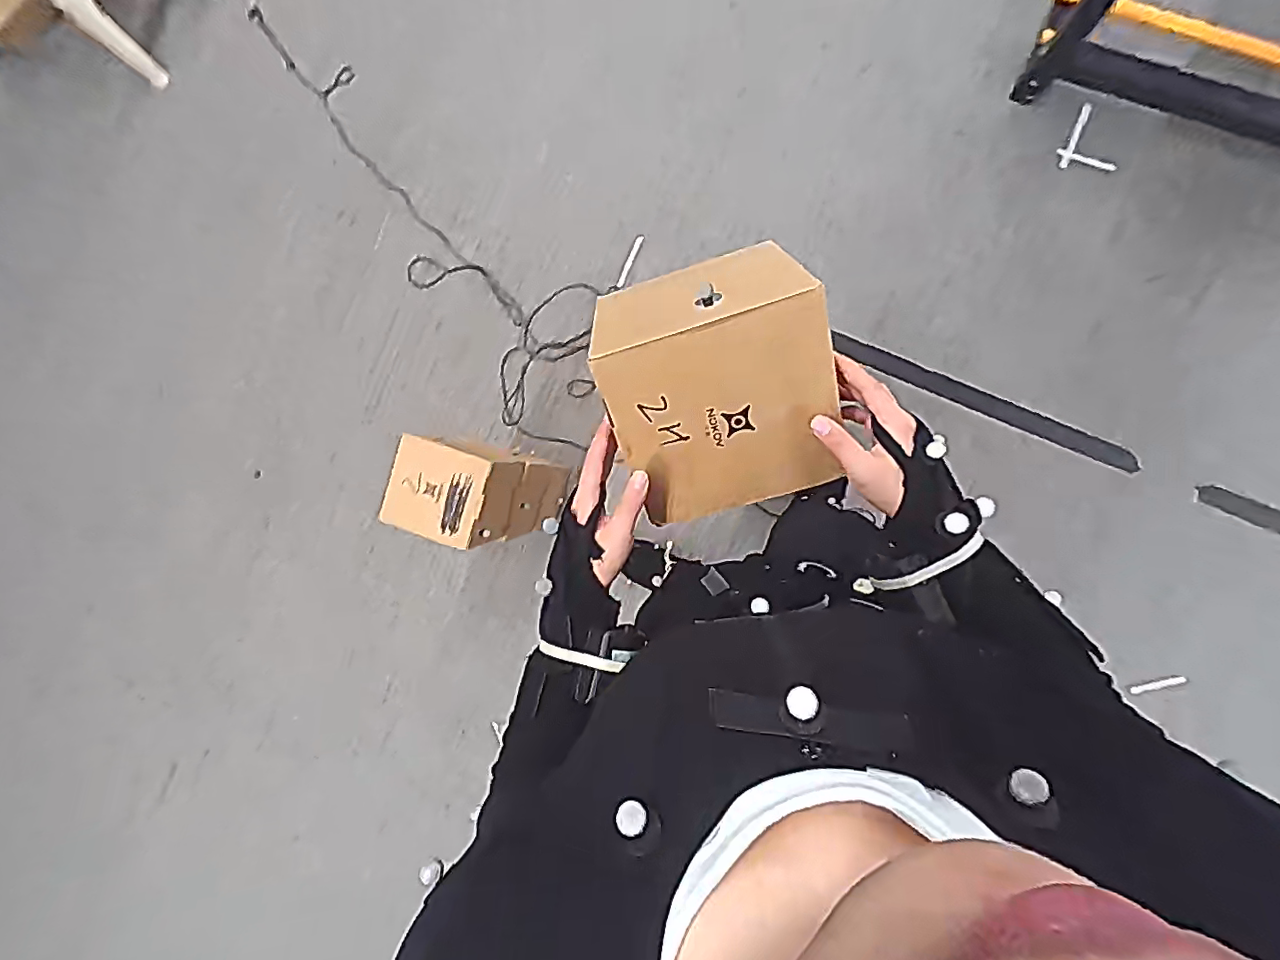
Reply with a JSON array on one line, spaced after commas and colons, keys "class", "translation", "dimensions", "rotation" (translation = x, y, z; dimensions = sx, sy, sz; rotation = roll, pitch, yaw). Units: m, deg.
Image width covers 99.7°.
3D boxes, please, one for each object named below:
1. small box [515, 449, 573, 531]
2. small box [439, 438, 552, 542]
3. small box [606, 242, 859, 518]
[{"class": "small box", "translation": [-0.287, 0.019, 1.351], "dimensions": [0.179, 0.176, 0.168], "rotation": [17, 94, 6]}, {"class": "small box", "translation": [-0.308, 0.018, 1.190], "dimensions": [0.168, 0.176, 0.179], "rotation": [19, 94, 7]}, {"class": "small box", "translation": [0.077, -0.096, 0.488], "dimensions": [0.179, 0.176, 0.168], "rotation": [-15, 123, 9]}]
